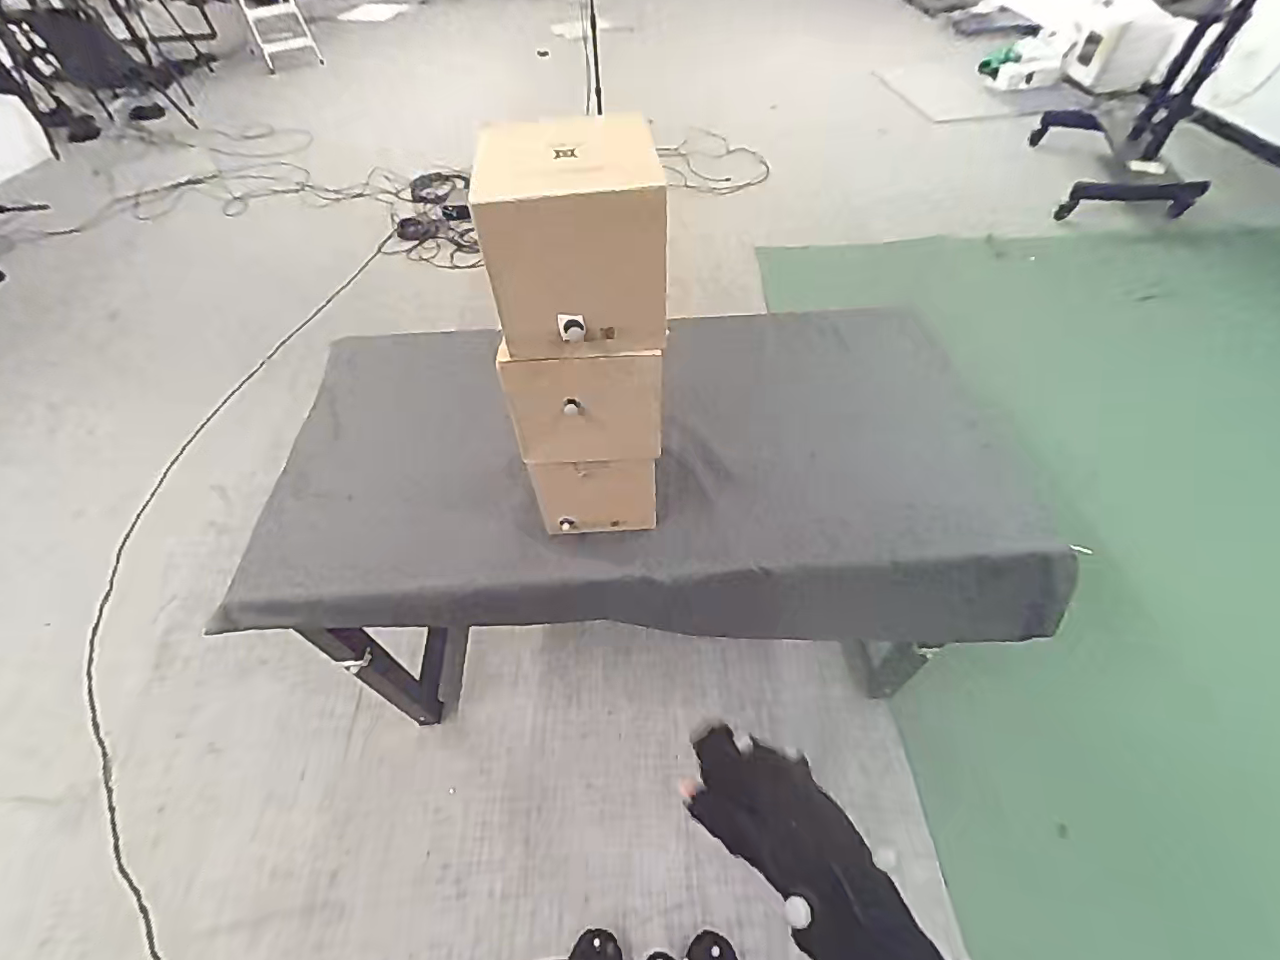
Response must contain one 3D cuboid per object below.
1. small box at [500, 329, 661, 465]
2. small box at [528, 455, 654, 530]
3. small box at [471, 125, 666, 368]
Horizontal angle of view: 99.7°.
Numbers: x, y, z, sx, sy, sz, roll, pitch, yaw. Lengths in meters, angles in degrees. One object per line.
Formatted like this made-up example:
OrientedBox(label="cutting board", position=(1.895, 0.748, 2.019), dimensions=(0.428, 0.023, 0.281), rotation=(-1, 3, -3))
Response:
OrientedBox(label="small box", position=(-0.067, -0.133, 0.690), dimensions=(0.179, 0.176, 0.168), rotation=(-4, 49, -3))
OrientedBox(label="small box", position=(-0.065, -0.035, 0.817), dimensions=(0.168, 0.176, 0.179), rotation=(-3, 49, 0))
OrientedBox(label="small box", position=(-0.067, -0.242, 0.565), dimensions=(0.168, 0.176, 0.179), rotation=(-8, 52, -3))
